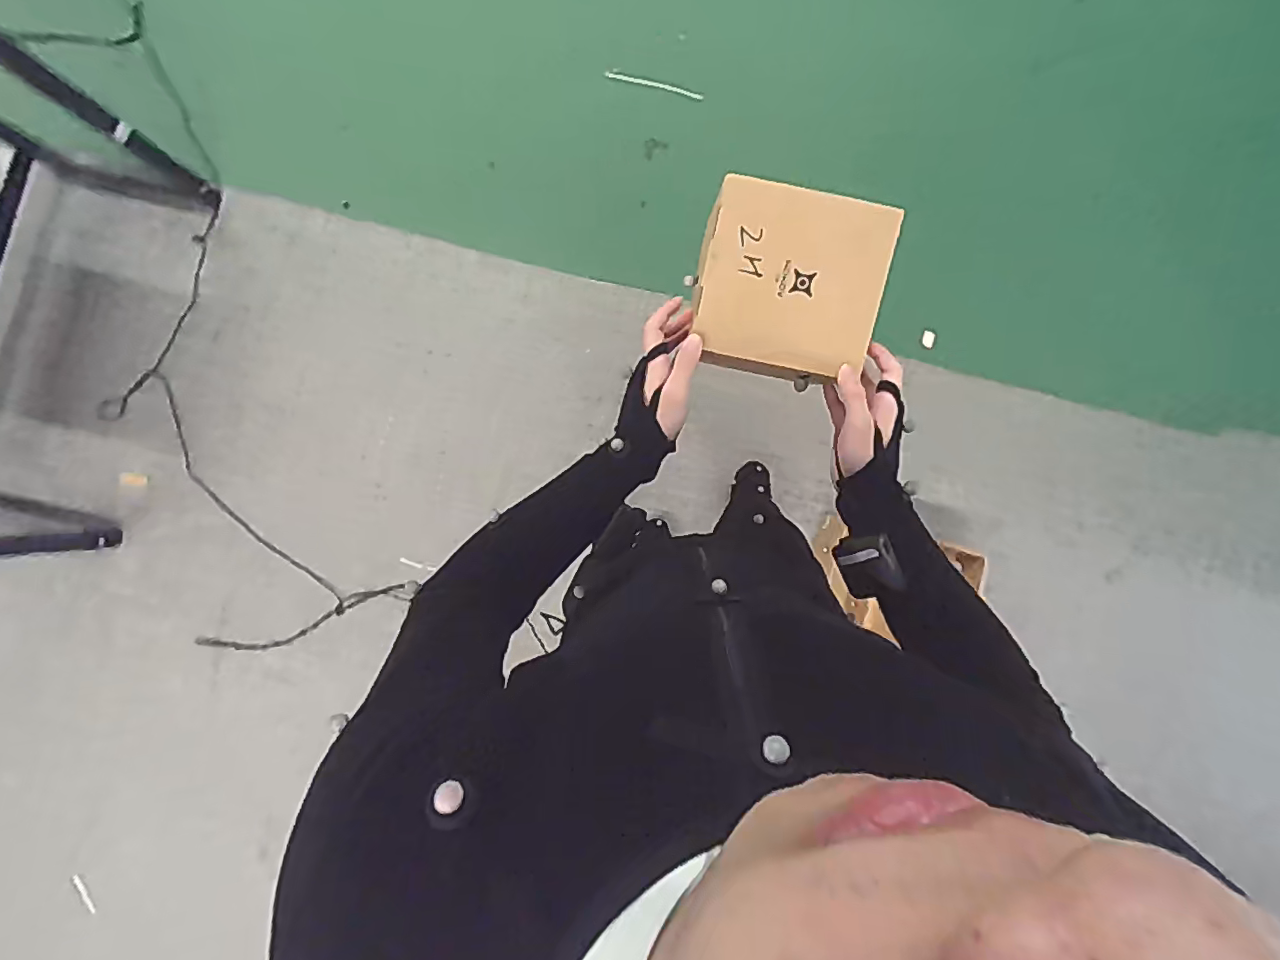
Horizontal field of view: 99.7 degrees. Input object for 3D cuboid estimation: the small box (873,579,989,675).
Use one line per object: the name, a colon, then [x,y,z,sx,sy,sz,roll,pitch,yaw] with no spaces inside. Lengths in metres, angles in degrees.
small box: [0.691,0.344,1.303,0.179,0.176,0.168,14,89,2]

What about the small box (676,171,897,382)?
small box: [0.143,-0.206,0.597,0.179,0.176,0.168,11,98,0]
